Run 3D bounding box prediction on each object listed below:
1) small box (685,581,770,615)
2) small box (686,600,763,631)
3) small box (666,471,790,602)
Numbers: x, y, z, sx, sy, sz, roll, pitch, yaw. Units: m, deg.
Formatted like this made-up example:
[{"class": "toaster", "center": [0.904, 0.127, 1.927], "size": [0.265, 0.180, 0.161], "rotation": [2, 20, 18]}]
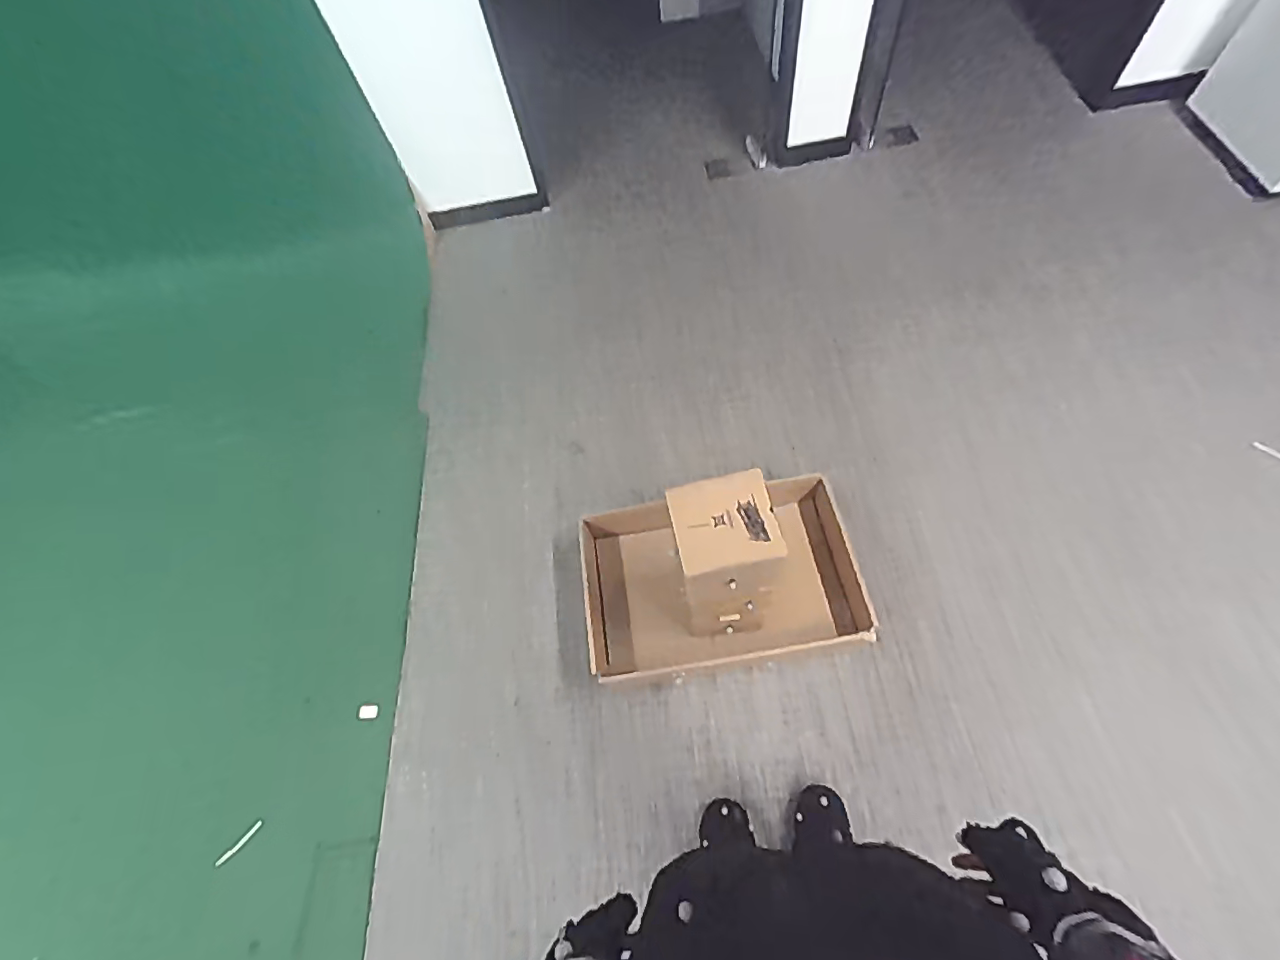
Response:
[{"class": "small box", "center": [0.171, 0.176, 1.134], "size": [0.168, 0.176, 0.179], "rotation": [-9, 61, 3]}, {"class": "small box", "center": [0.191, 0.252, 1.275], "size": [0.168, 0.176, 0.179], "rotation": [-8, 62, 4]}, {"class": "small box", "center": [0.152, 0.108, 0.986], "size": [0.179, 0.176, 0.168], "rotation": [-14, 62, -1]}]
